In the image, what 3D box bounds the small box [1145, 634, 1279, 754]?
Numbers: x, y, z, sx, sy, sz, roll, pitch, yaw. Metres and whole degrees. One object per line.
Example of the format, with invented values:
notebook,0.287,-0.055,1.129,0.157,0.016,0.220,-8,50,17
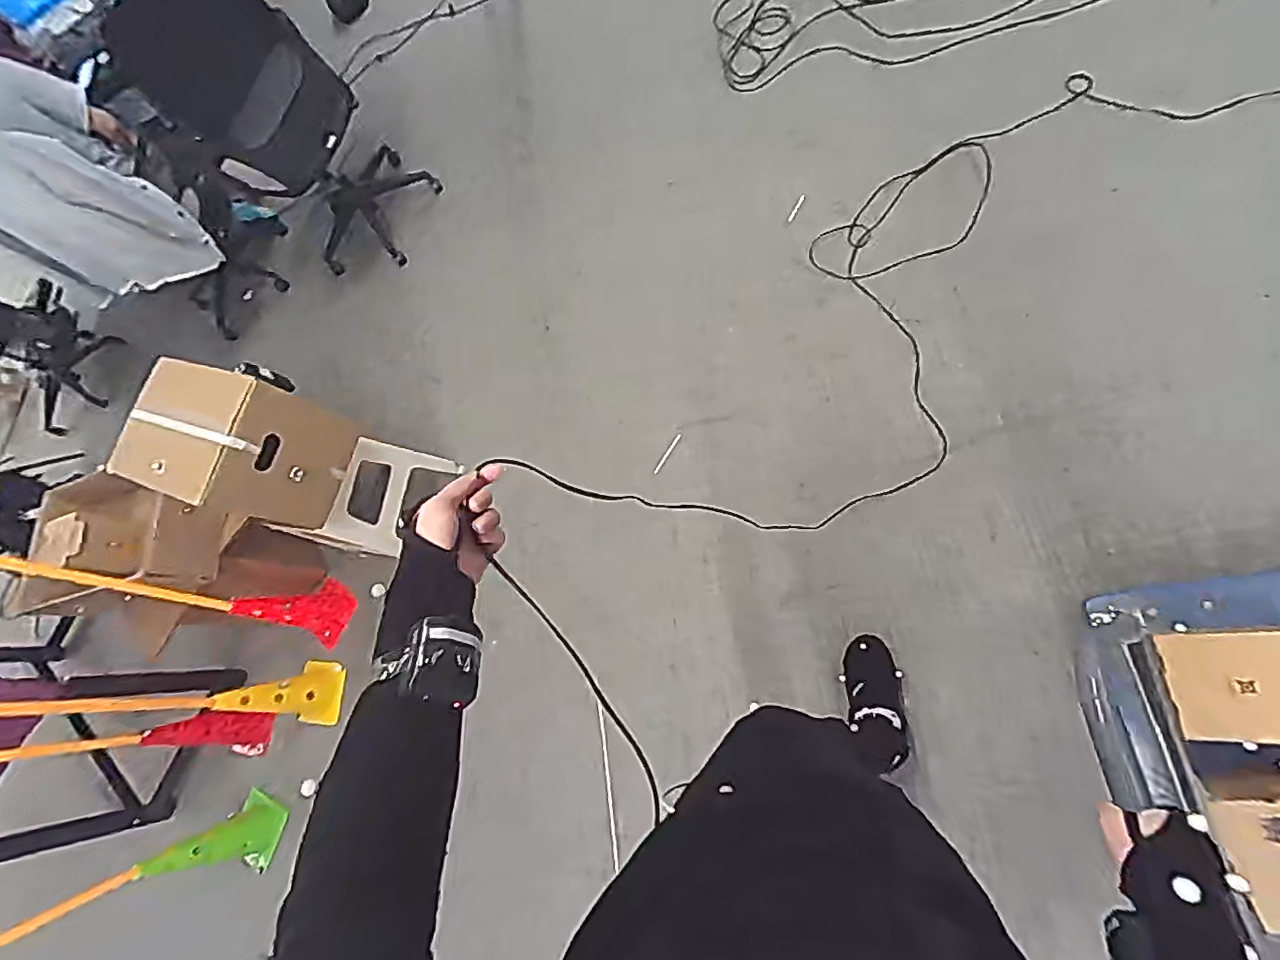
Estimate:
small box,0.993,0.350,0.907,0.179,0.176,0.168,-15,71,36
